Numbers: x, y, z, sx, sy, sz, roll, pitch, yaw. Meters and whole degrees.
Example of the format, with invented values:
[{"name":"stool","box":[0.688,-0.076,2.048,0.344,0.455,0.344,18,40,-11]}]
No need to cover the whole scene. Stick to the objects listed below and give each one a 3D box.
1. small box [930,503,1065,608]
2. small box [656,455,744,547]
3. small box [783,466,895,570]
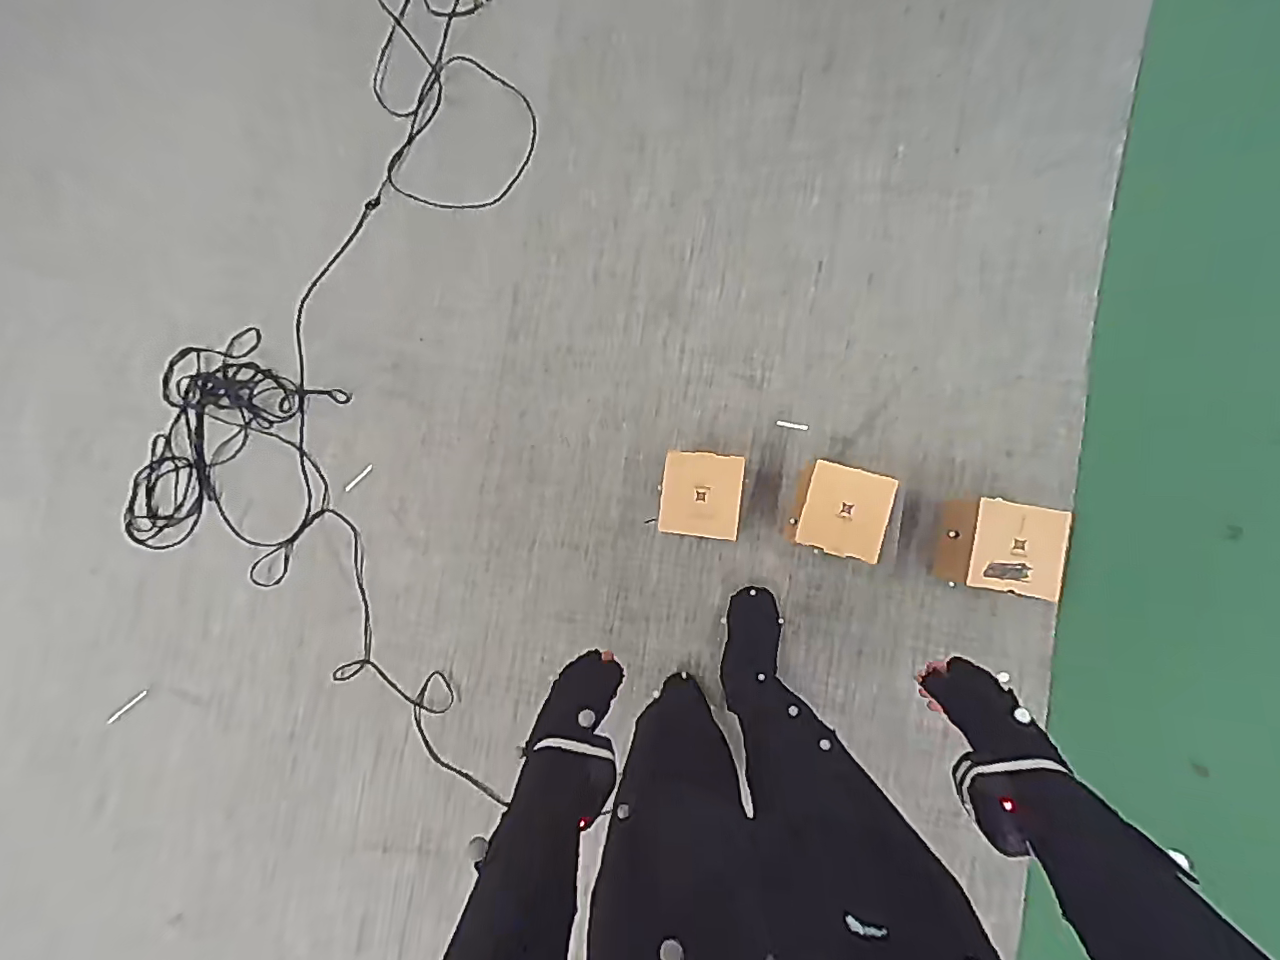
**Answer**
[{"name":"small box","box":[0.723,0.150,1.115,0.168,0.176,0.179,11,87,8]},{"name":"small box","box":[0.134,0.046,1.195,0.168,0.176,0.179,6,89,9]},{"name":"small box","box":[0.415,0.080,1.158,0.168,0.176,0.179,16,89,8]}]
